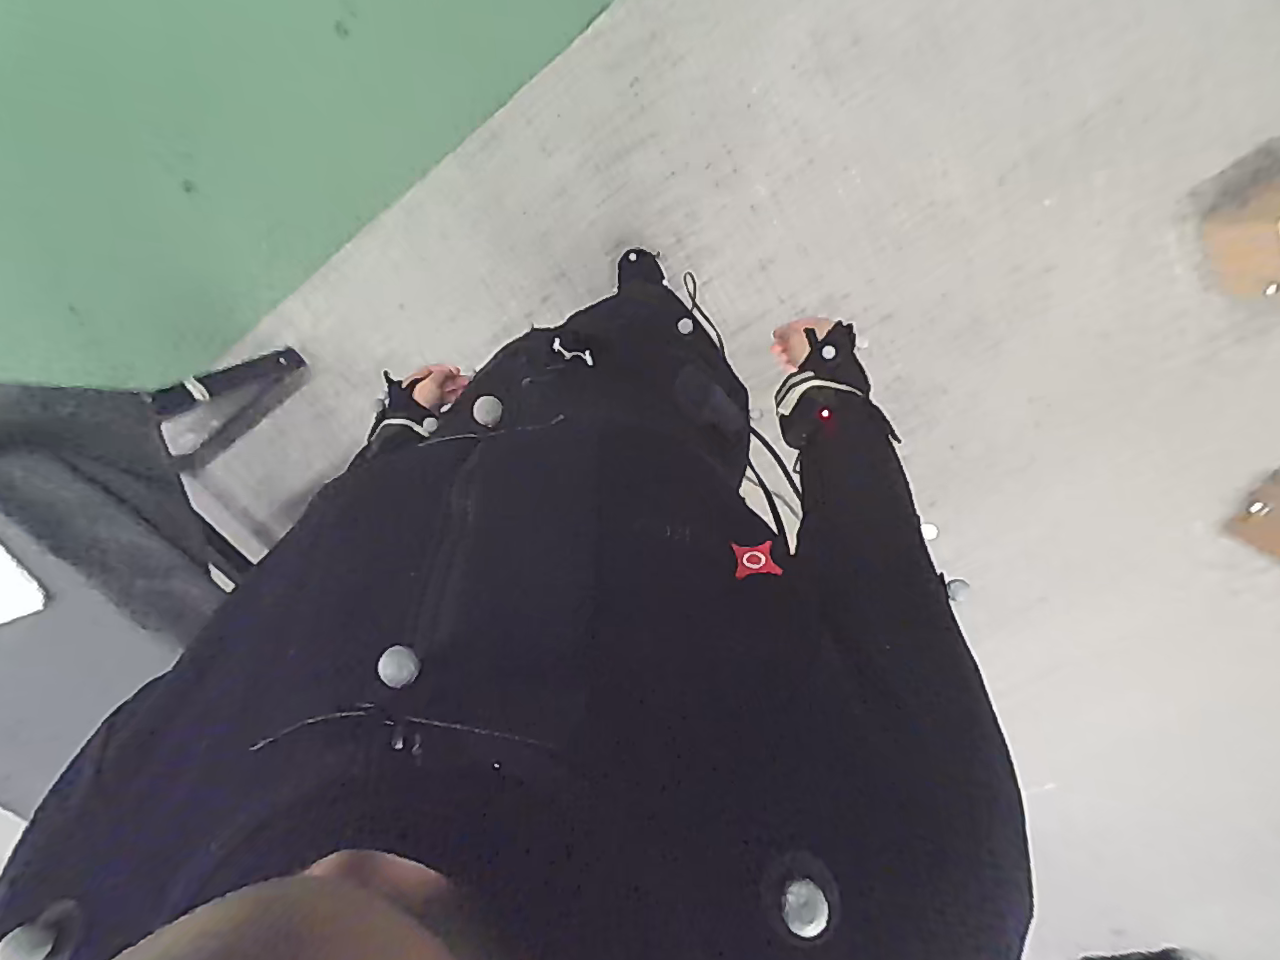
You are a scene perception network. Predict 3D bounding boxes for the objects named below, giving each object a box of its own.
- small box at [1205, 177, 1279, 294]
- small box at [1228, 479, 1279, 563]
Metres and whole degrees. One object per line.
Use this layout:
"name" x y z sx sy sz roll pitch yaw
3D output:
"small box" 1.235 -0.466 1.015 0.168 0.176 0.179 -33 109 18
"small box" 1.575 0.114 1.263 0.179 0.176 0.168 13 114 -1
